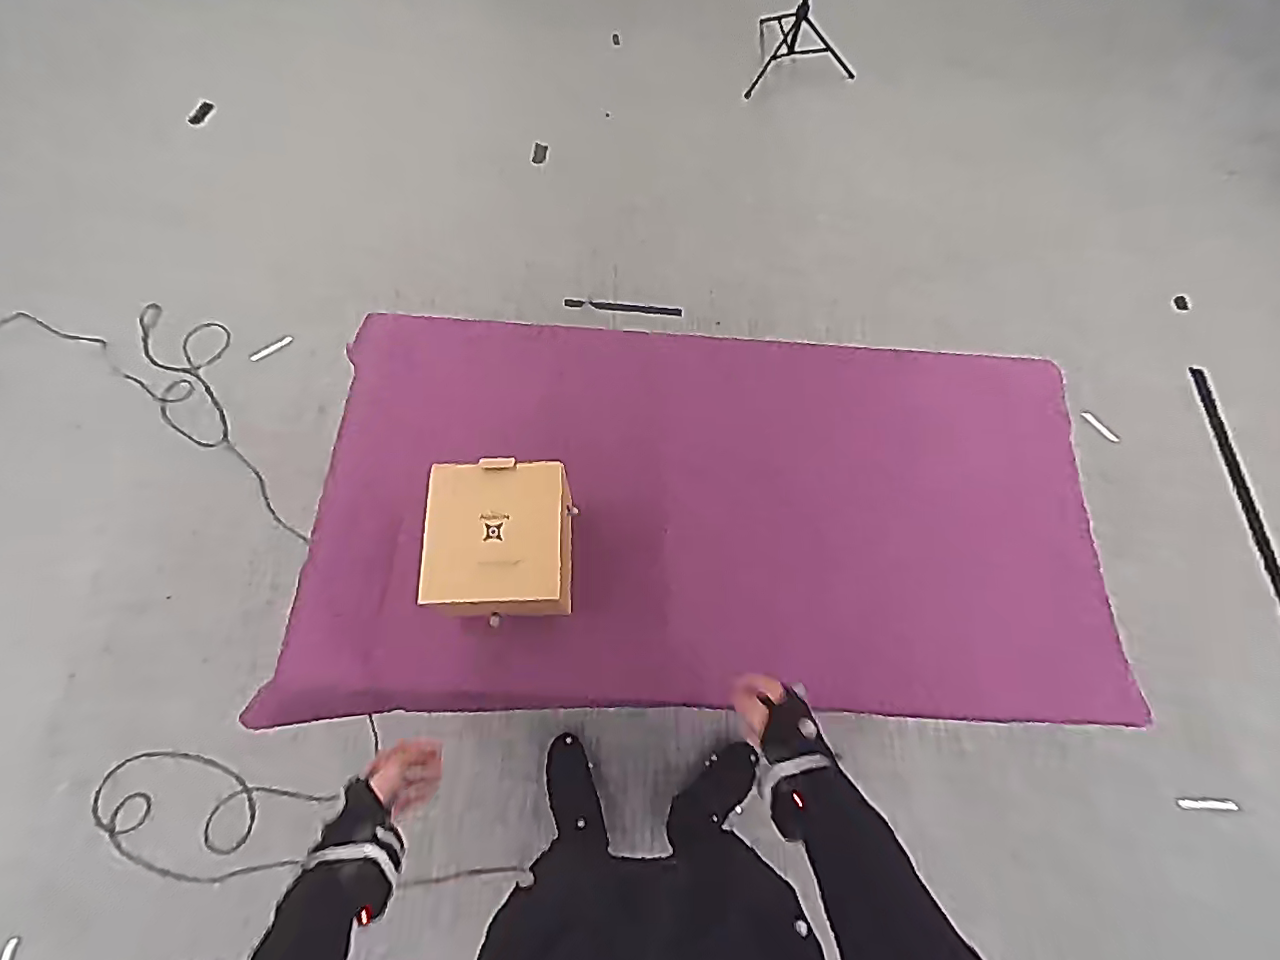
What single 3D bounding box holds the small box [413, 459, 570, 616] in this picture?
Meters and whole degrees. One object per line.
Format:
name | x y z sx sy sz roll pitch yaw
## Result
small box | -0.183 0.083 0.722 0.168 0.176 0.179 0 71 -3
